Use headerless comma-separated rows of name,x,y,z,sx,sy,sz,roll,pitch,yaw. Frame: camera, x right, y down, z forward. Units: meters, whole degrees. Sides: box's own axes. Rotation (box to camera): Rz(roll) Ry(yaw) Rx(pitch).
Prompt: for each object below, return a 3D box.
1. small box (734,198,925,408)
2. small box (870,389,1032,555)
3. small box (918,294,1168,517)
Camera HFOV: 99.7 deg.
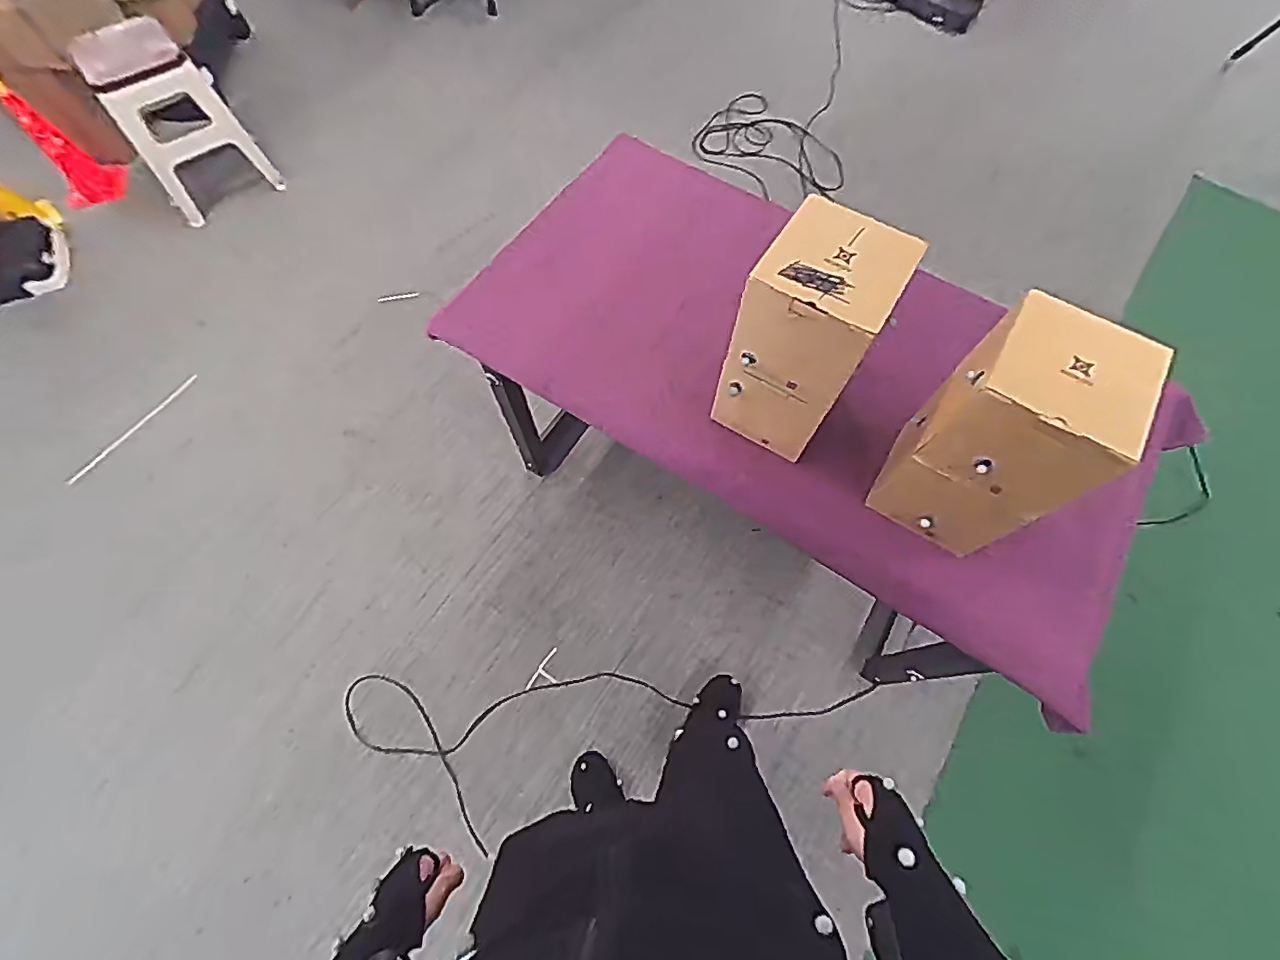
small box,0.241,-0.229,0.730,0.168,0.176,0.179,31,68,12
small box,0.479,-0.015,0.819,0.168,0.176,0.179,31,69,13
small box,0.483,-0.085,0.672,0.168,0.176,0.179,31,69,12
